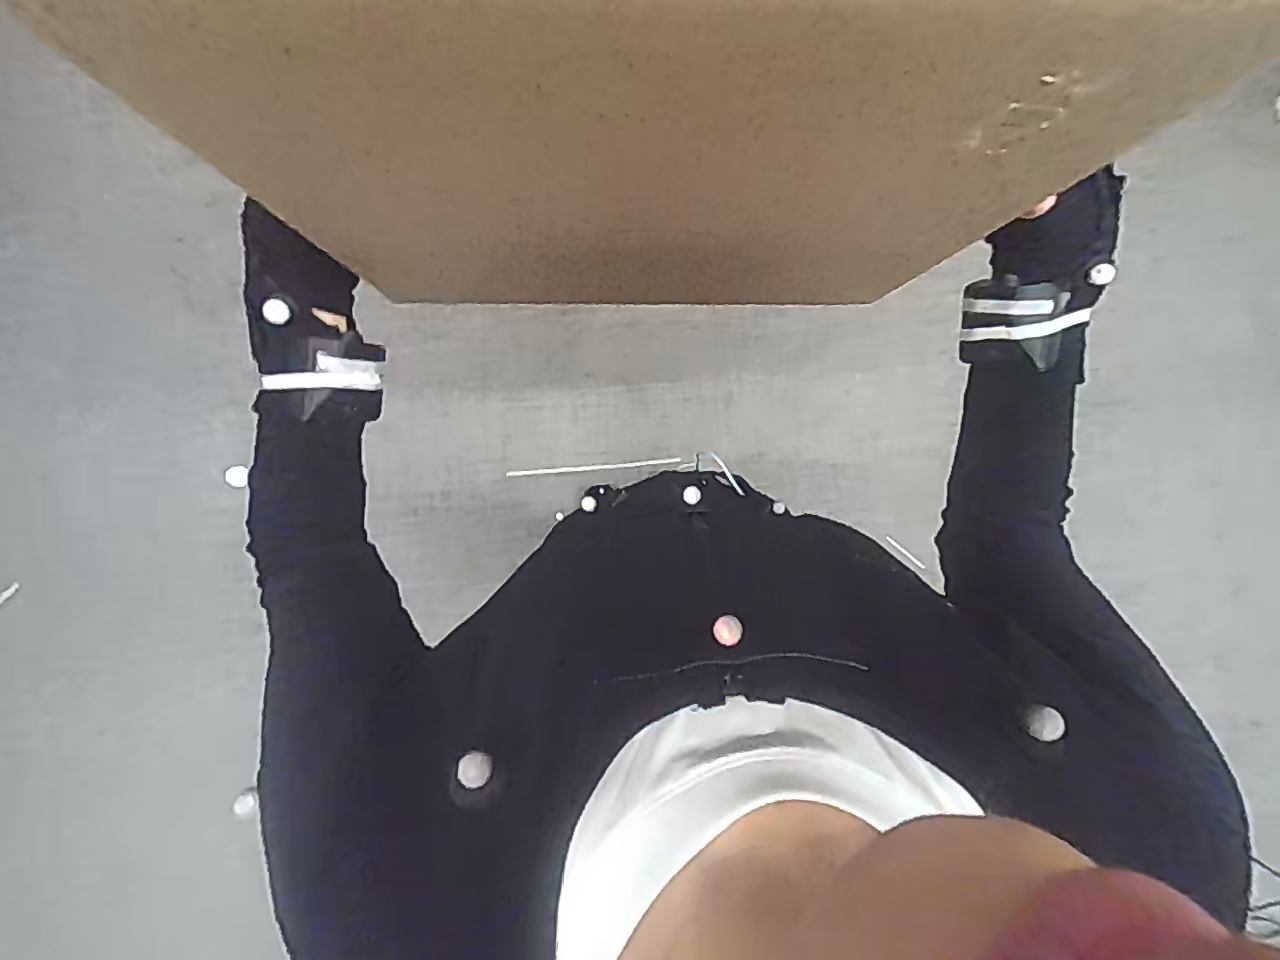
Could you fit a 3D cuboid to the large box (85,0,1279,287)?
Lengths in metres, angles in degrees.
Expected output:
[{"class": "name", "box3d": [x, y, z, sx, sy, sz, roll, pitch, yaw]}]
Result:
[{"class": "large box", "box3d": [0.011, -0.305, 0.290, 0.408, 0.320, 0.320, -1, 94, -4]}]
